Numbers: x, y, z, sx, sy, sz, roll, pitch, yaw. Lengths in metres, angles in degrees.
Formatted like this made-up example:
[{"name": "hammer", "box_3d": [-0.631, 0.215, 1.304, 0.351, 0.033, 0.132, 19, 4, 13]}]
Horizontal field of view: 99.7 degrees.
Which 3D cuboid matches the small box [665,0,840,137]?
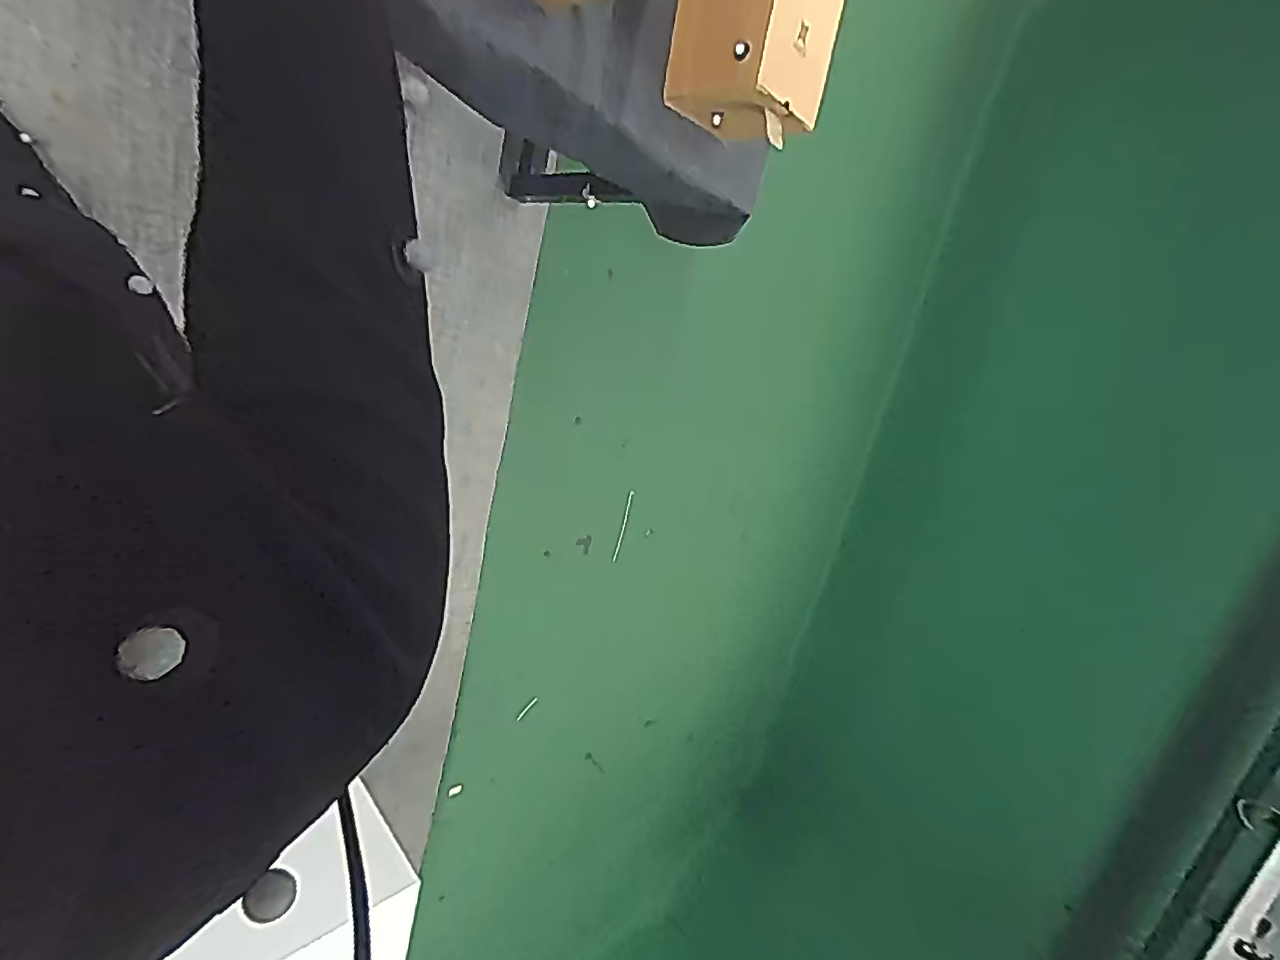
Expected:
[{"name": "small box", "box_3d": [0.156, -0.621, 0.777, 0.168, 0.176, 0.179, -8, 115, -47]}]
